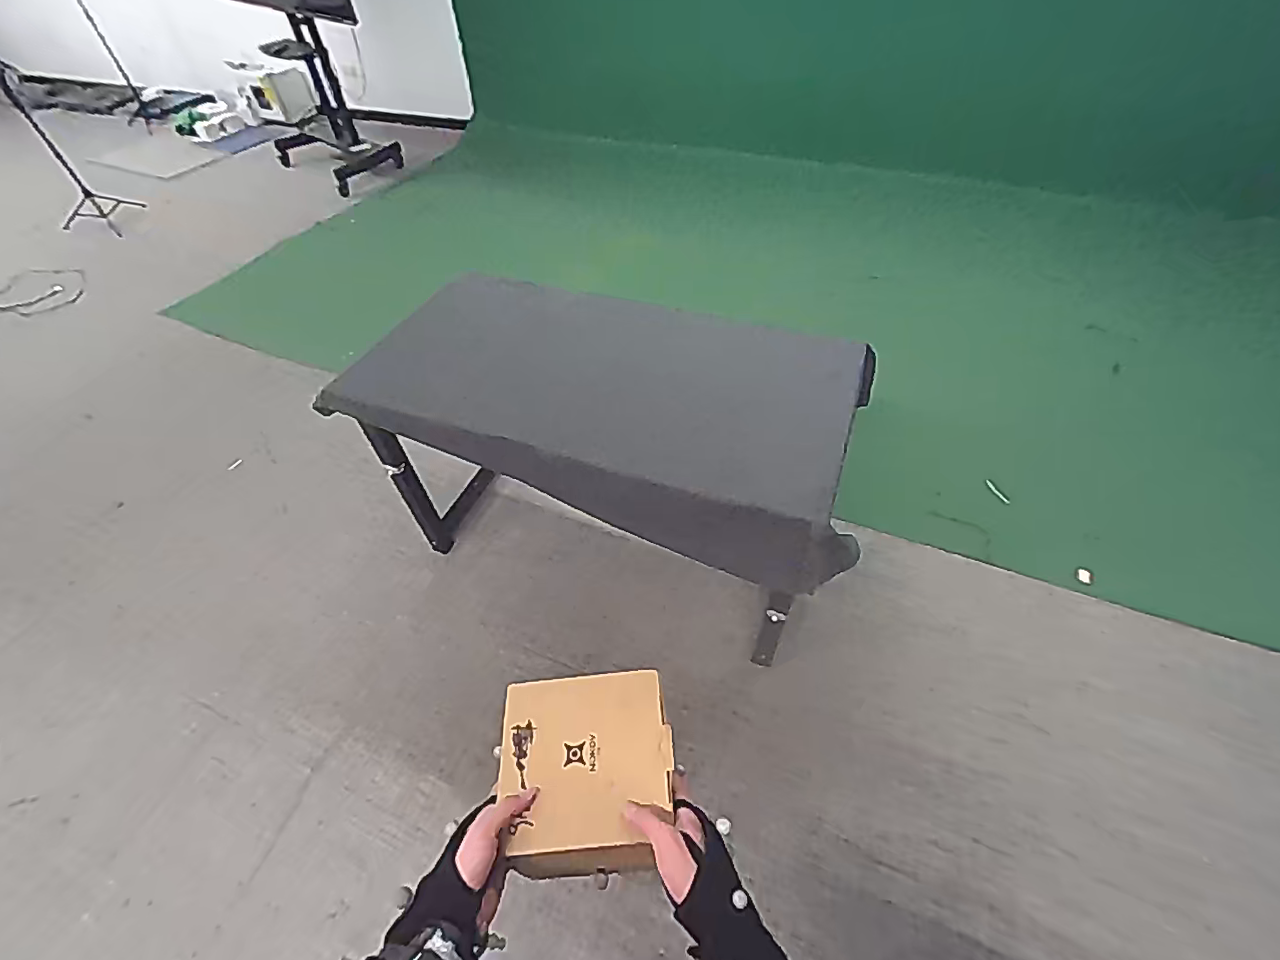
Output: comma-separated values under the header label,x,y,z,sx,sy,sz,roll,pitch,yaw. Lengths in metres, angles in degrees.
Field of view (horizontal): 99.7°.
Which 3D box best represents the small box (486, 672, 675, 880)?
label,x,y,z,sx,sy,sz,roll,pitch,yaw
small box,-0.055,0.334,0.609,0.179,0.176,0.168,-5,46,0
